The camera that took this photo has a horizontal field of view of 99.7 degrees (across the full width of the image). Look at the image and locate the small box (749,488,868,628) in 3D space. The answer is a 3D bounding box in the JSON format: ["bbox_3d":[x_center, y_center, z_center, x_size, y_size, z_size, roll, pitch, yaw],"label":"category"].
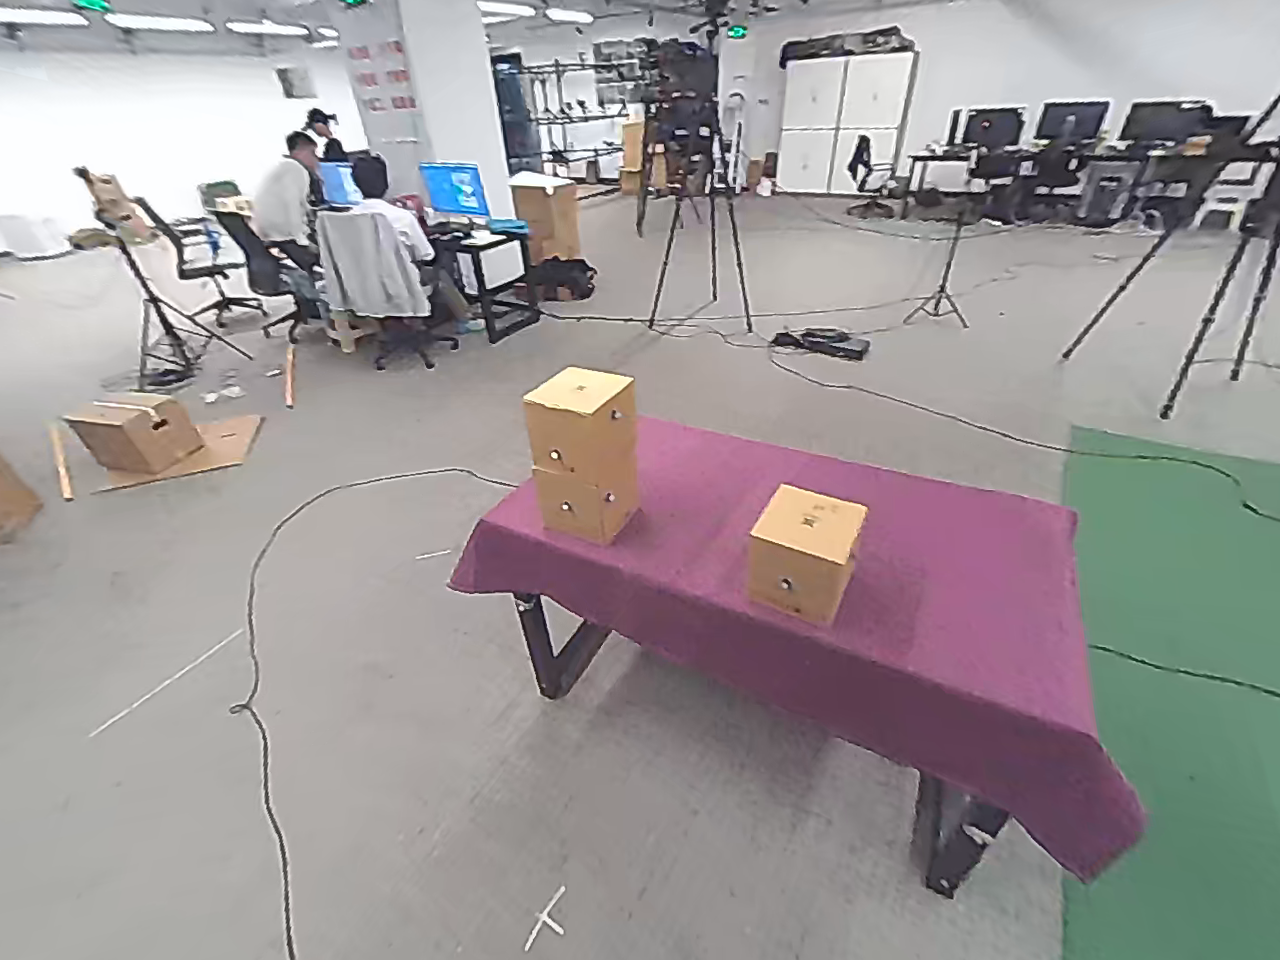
[{"bbox_3d":[0.315,0.148,1.029,0.168,0.176,0.179,18,40,27],"label":"small box"}]

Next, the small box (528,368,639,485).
[{"bbox_3d":[-0.113,-0.116,1.149,0.168,0.176,0.179,16,40,25],"label":"small box"}]
